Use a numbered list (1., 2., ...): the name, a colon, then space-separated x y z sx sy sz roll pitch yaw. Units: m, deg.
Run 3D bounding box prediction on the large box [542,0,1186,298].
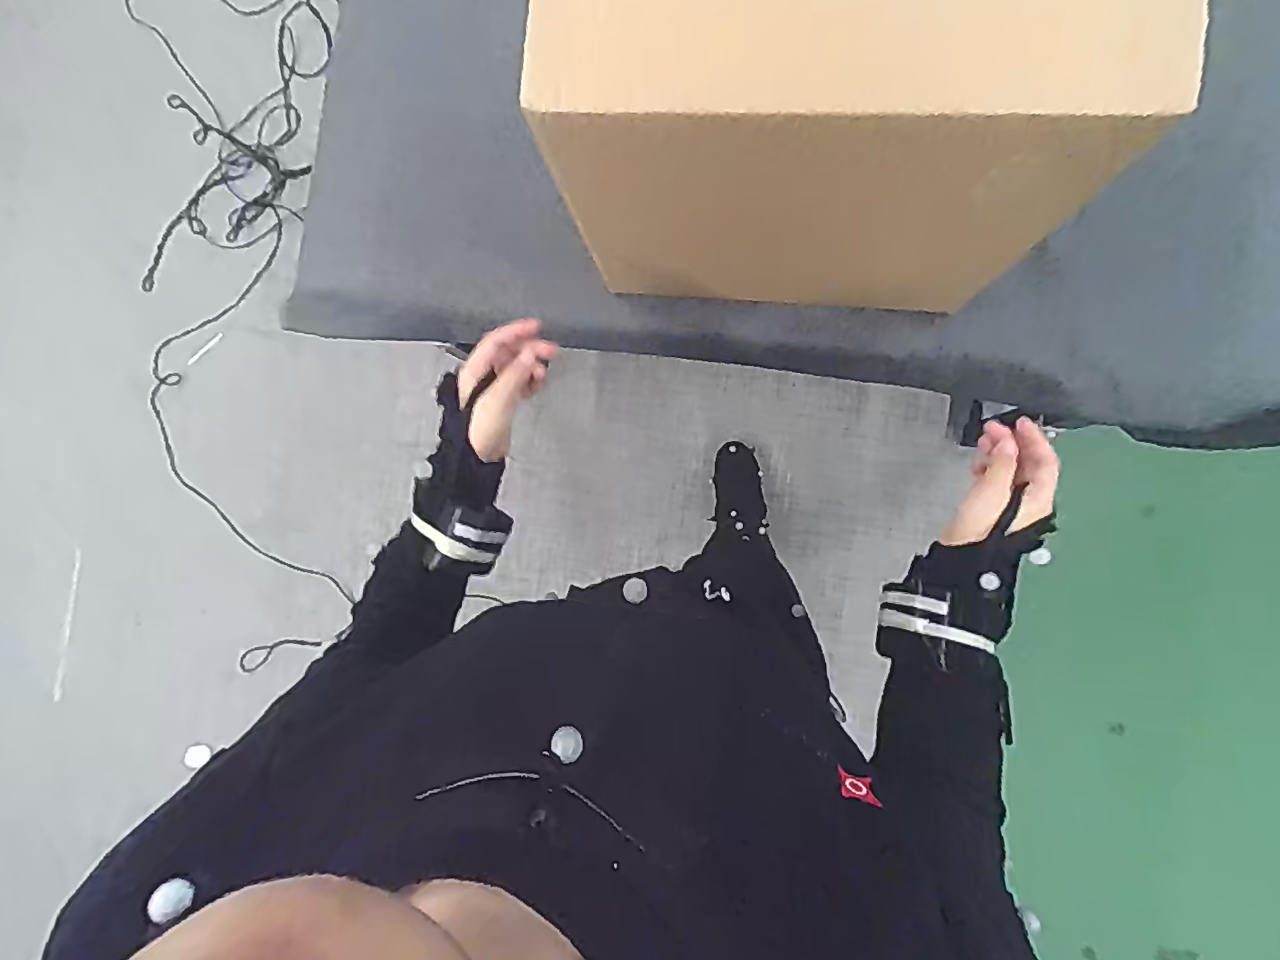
1. large box: 0.155 -0.380 0.501 0.408 0.320 0.320 5 88 7
